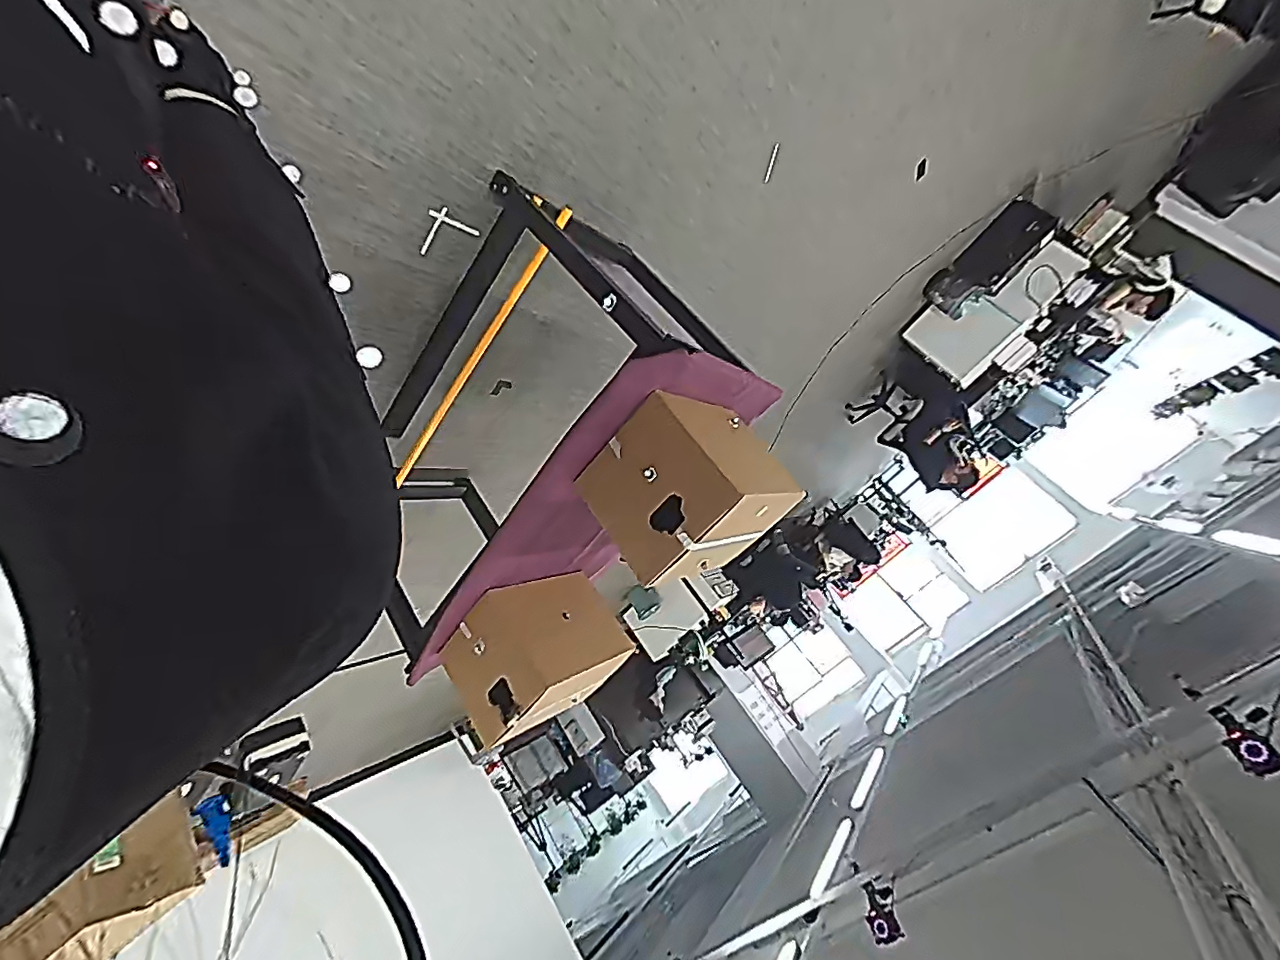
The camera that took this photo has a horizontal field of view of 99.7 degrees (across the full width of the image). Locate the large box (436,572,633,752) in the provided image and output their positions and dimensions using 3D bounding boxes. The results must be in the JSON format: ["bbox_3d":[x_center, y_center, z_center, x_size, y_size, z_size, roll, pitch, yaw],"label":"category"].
[{"bbox_3d":[-0.307,0.506,1.590,0.320,0.320,0.408,-48,157,23],"label":"large box"}]
